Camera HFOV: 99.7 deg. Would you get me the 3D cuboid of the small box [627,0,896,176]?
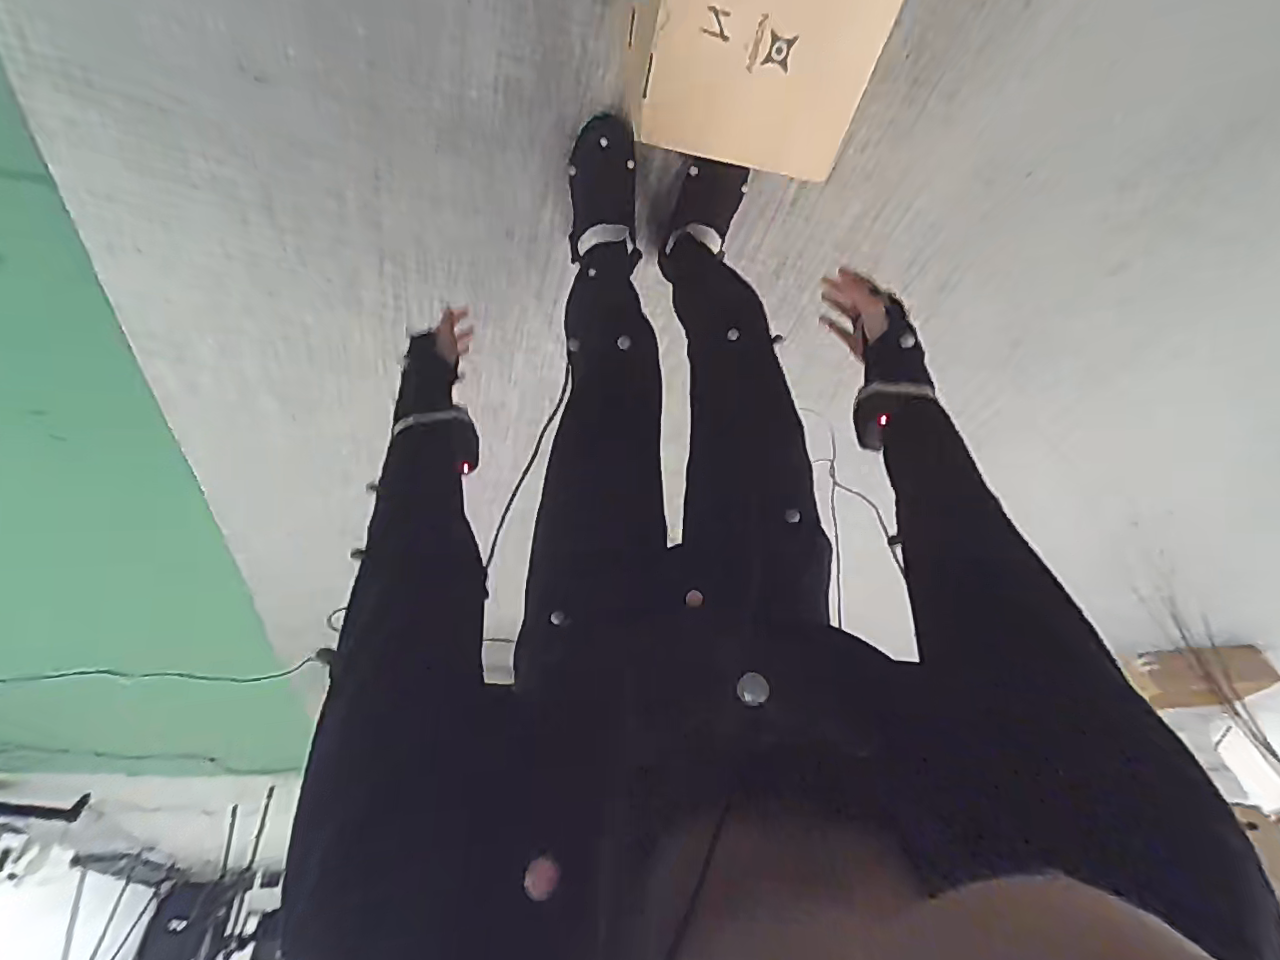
[{"bbox_3d":[0.091,-0.395,0.463,0.179,0.176,0.168,7,137,-11],"label":"small box"}]
